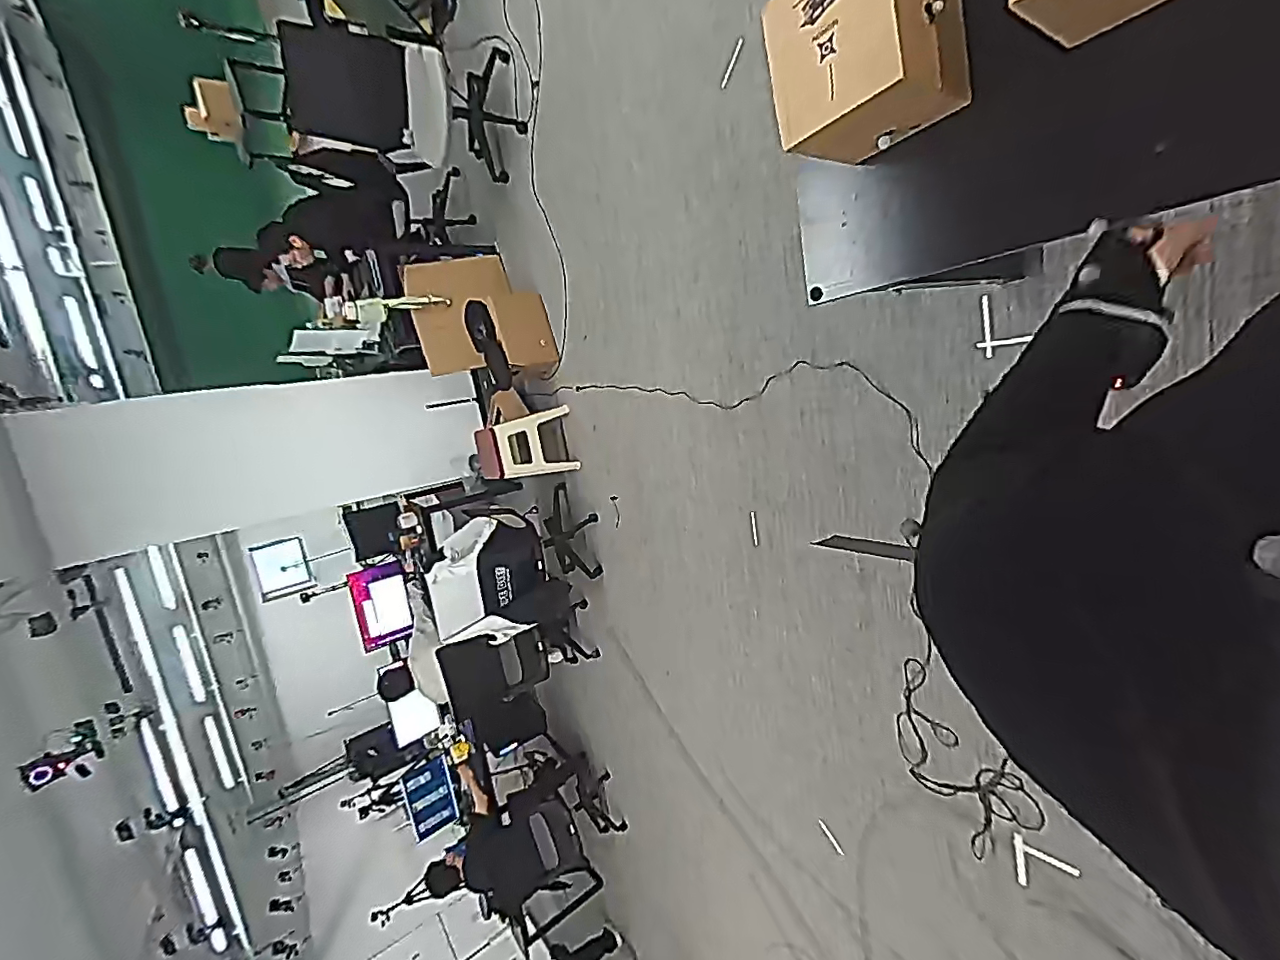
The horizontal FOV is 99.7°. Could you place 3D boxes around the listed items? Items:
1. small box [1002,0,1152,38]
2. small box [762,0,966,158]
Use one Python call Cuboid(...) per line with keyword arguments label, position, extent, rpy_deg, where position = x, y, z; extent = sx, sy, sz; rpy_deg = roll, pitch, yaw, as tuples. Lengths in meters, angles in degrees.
Cuboid(label="small box", position=(0.436, -0.531, 0.461), extent=(0.179, 0.176, 0.168), rpy_deg=(4, 106, 55))
Cuboid(label="small box", position=(0.281, -0.536, 0.679), extent=(0.168, 0.176, 0.179), rpy_deg=(0, 105, 55))
